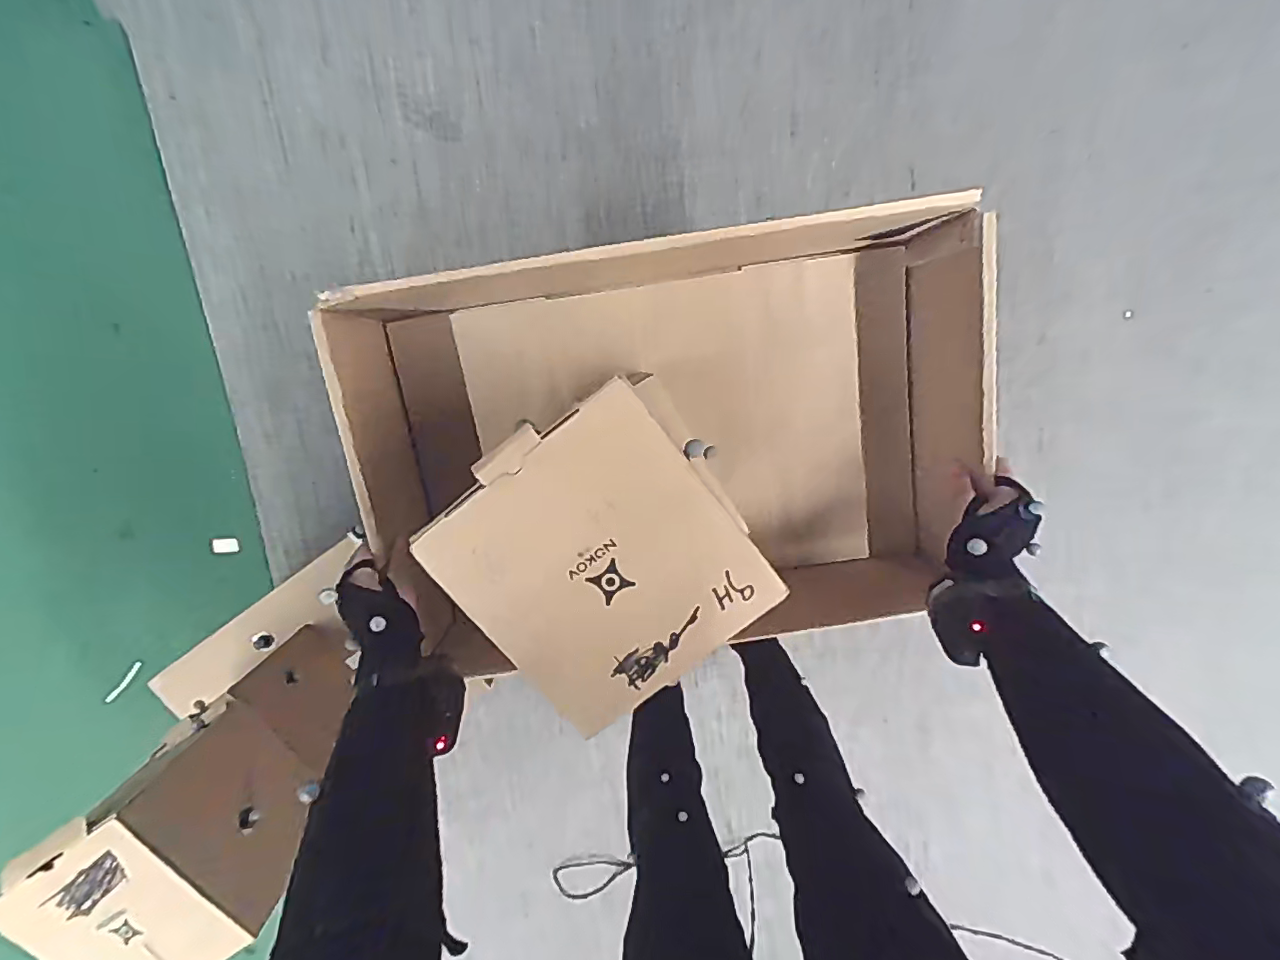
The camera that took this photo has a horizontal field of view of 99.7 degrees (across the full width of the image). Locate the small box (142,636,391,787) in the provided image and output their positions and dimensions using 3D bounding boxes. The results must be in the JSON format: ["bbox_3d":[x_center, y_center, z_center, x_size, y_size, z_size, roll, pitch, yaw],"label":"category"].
[{"bbox_3d":[-0.483,0.337,0.729,0.168,0.176,0.179,-39,101,6],"label":"small box"}]

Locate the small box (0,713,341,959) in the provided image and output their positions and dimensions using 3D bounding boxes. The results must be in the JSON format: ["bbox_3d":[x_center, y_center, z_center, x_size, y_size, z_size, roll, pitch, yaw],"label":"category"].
[{"bbox_3d":[-0.469,0.380,0.571,0.168,0.176,0.179,-35,102,5],"label":"small box"}]

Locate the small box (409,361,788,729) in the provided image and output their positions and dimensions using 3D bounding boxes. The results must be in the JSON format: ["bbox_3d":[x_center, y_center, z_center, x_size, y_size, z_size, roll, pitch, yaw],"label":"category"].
[{"bbox_3d":[-0.026,0.033,0.405,0.168,0.176,0.179,-38,100,6],"label":"small box"}]
